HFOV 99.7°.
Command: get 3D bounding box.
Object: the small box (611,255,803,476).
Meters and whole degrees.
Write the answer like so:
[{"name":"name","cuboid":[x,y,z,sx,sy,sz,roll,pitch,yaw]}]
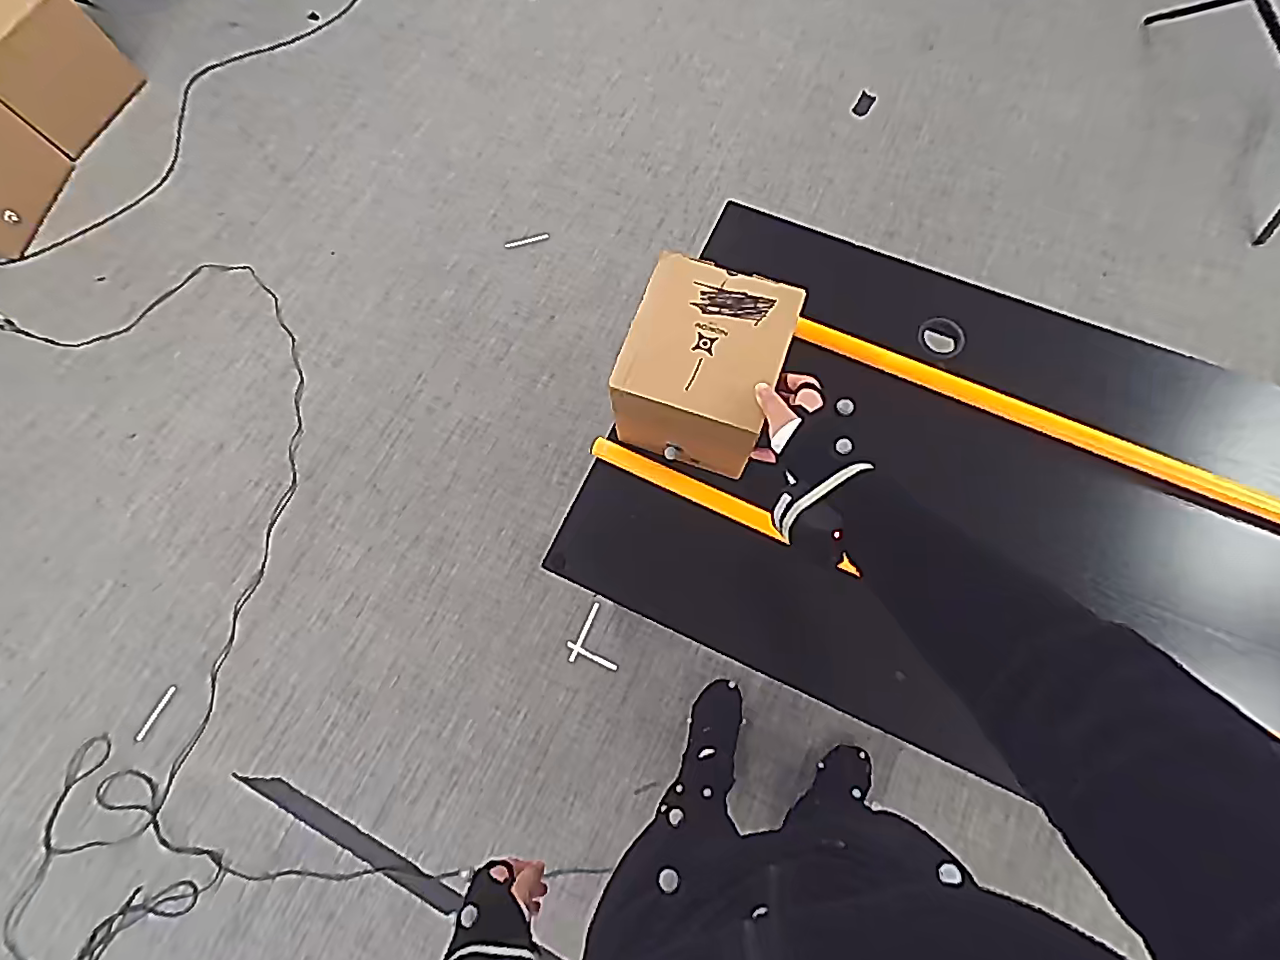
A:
[{"name":"small box","cuboid":[0.076,-0.127,0.651,0.168,0.176,0.179,19,76,8]}]
